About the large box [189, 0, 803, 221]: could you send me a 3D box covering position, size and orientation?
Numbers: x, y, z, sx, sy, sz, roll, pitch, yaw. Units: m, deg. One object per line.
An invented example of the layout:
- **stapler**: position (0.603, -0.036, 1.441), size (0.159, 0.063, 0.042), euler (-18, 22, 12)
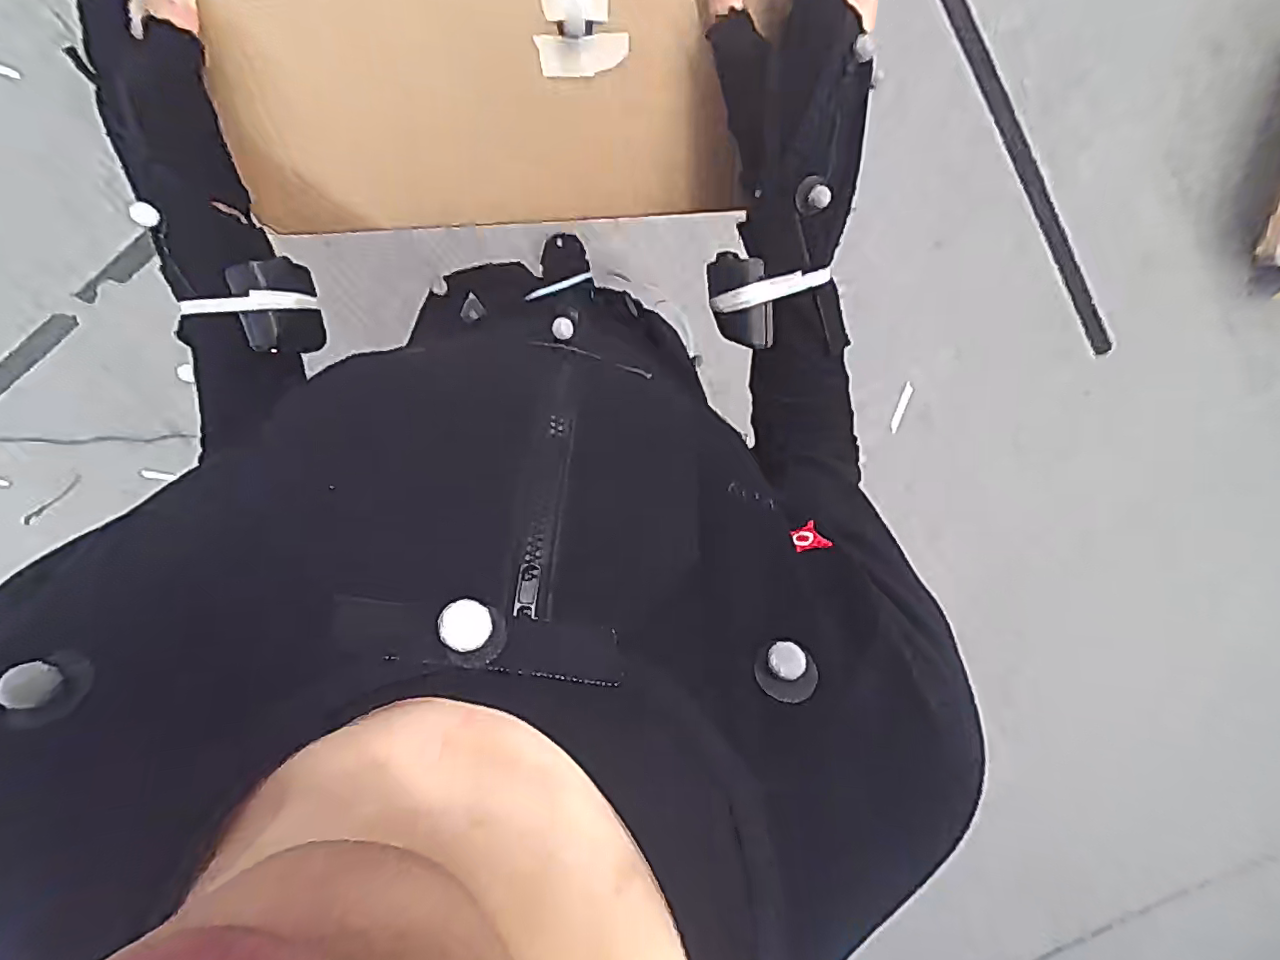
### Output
- **large box**: position (-0.092, -0.429, 0.440), size (0.408, 0.320, 0.320), euler (-1, 132, 4)
